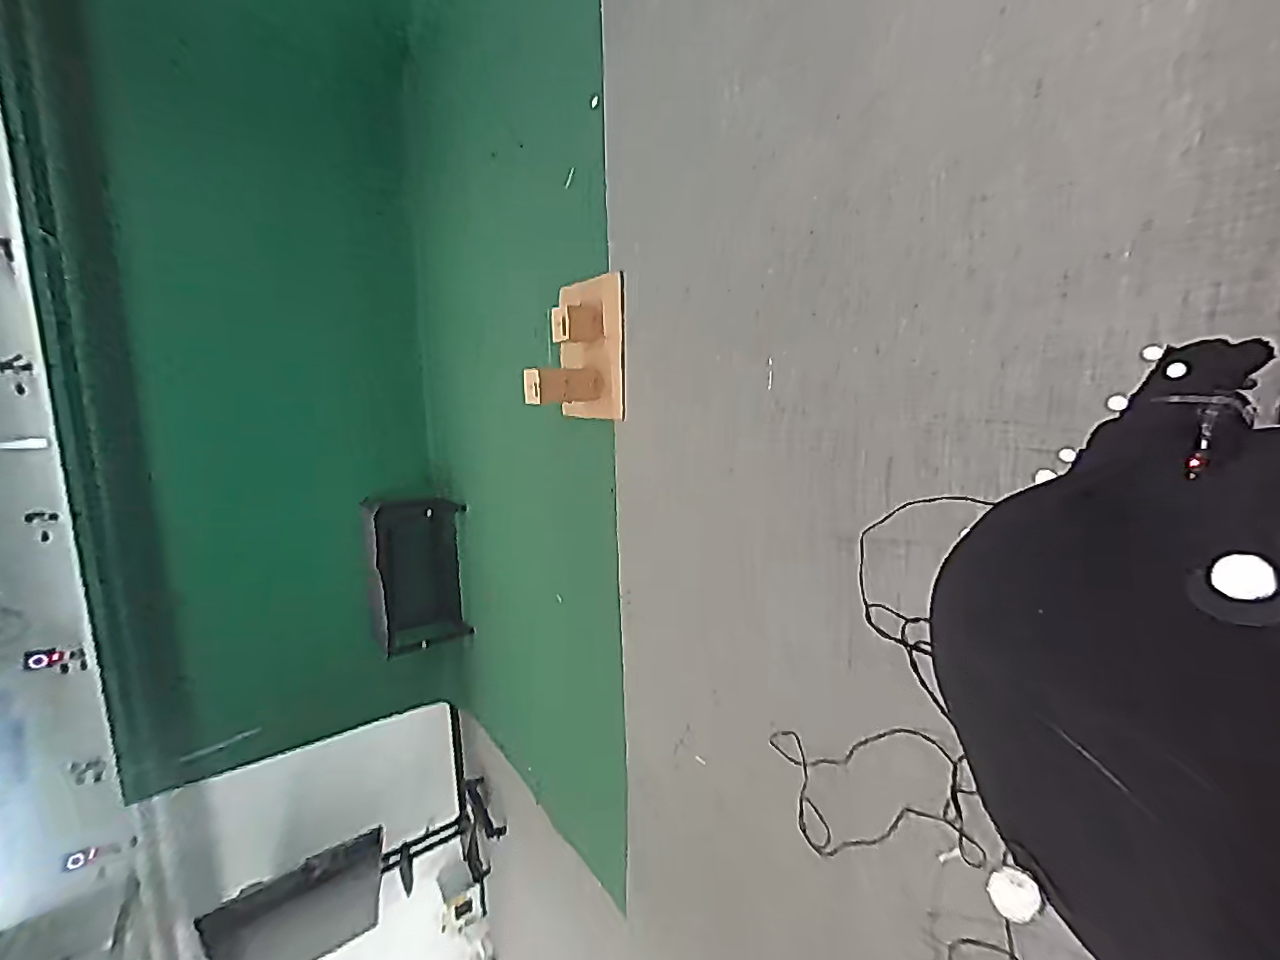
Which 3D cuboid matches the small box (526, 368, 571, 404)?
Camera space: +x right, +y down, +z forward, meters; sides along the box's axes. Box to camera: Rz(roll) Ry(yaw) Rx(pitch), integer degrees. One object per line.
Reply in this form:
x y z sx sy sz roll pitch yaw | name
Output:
-0.450 -0.469 2.682 0.179 0.176 0.168 14 108 53 | small box

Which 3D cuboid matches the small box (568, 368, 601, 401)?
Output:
-0.317 -0.489 2.776 0.179 0.176 0.168 10 106 53 | small box
